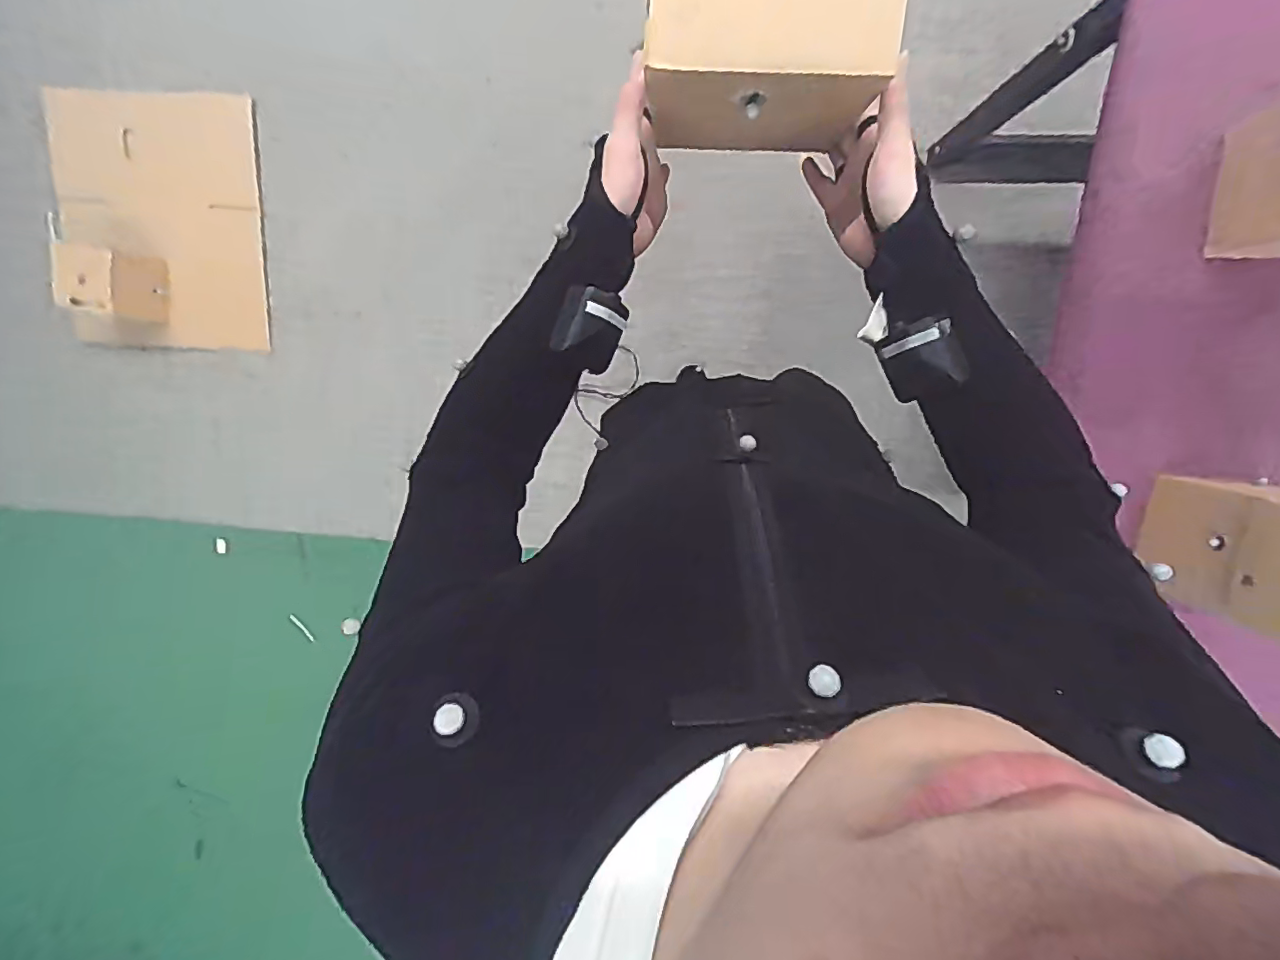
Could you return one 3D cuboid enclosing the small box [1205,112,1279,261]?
[{"bbox_3d":[0.900,-0.386,0.696,0.168,0.176,0.179,1,100,4],"label":"small box"}]

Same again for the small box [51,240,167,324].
[{"bbox_3d":[-1.475,-0.546,1.511,0.168,0.176,0.179,13,101,1],"label":"small box"}]

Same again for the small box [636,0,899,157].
[{"bbox_3d":[0.093,-0.376,0.432,0.179,0.176,0.168,3,105,2],"label":"small box"}]

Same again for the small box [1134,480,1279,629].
[{"bbox_3d":[0.887,0.103,0.791,0.168,0.176,0.179,6,102,2],"label":"small box"}]
